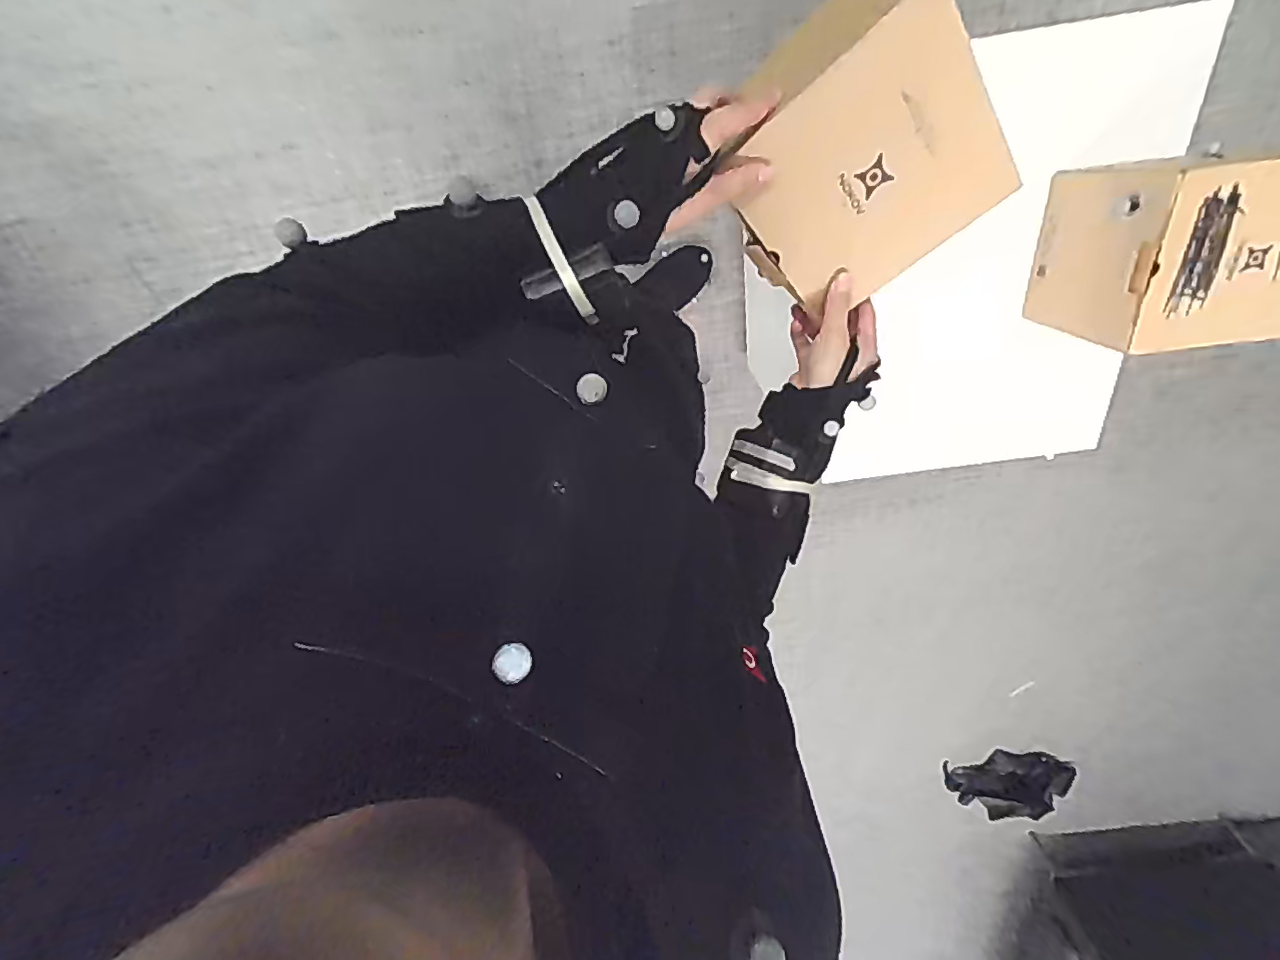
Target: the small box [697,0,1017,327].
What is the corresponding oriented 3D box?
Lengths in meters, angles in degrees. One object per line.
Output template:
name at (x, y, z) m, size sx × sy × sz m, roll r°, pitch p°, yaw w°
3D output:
small box at (0.162, -0.272, 0.460) m, size 0.179 × 0.176 × 0.168 m, roll -36°, pitch 123°, yaw 23°
